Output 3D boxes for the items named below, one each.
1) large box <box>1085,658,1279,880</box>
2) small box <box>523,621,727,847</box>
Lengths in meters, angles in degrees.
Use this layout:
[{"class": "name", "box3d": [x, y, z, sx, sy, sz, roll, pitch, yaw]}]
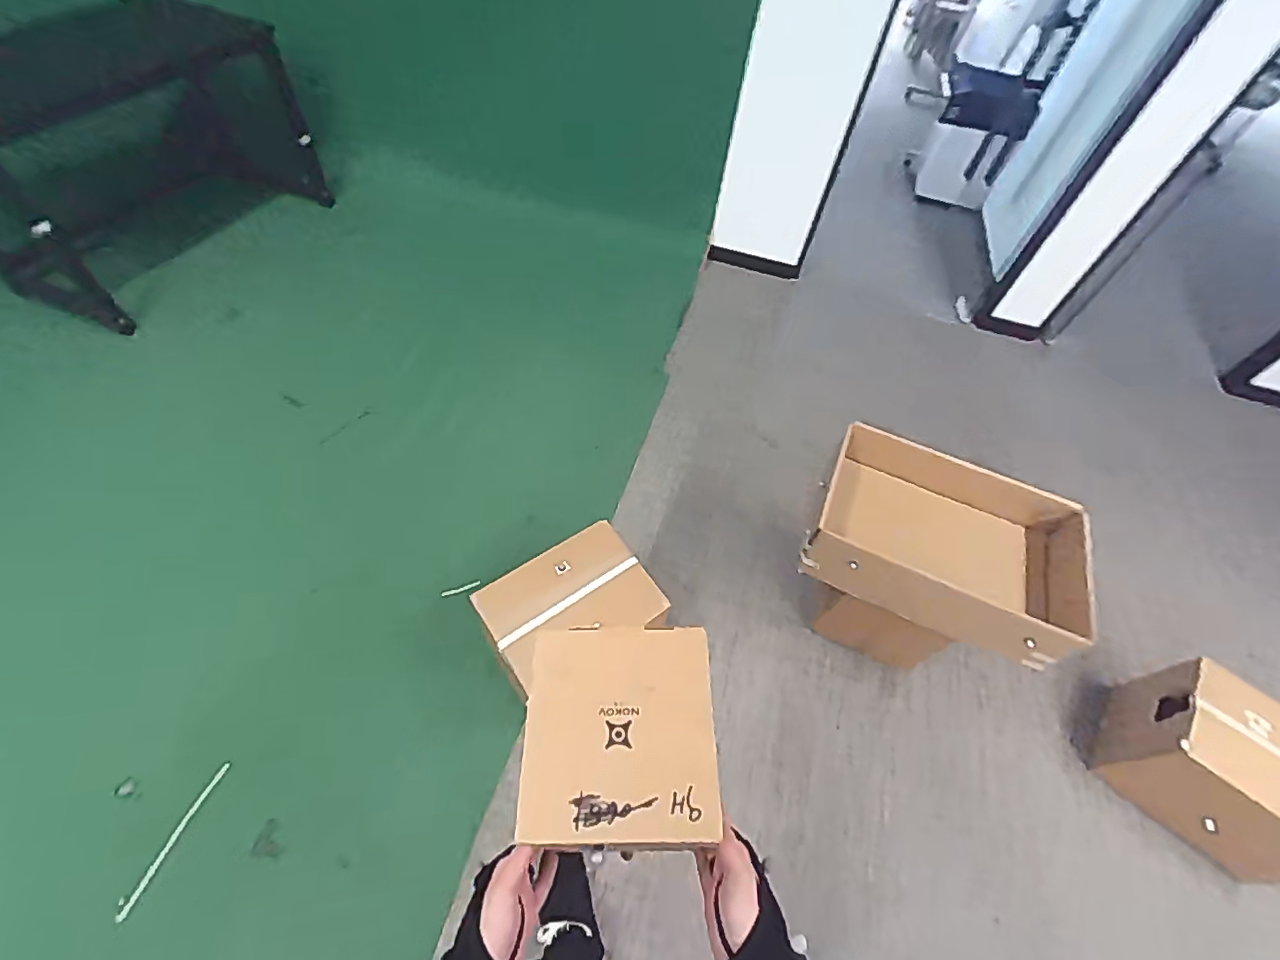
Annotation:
[{"class": "large box", "box3d": [1.516, 0.756, 1.418, 0.408, 0.320, 0.320, 37, 58, 19]}, {"class": "small box", "box3d": [-0.012, 0.255, 0.539, 0.168, 0.176, 0.179, 0, 54, 0]}]
